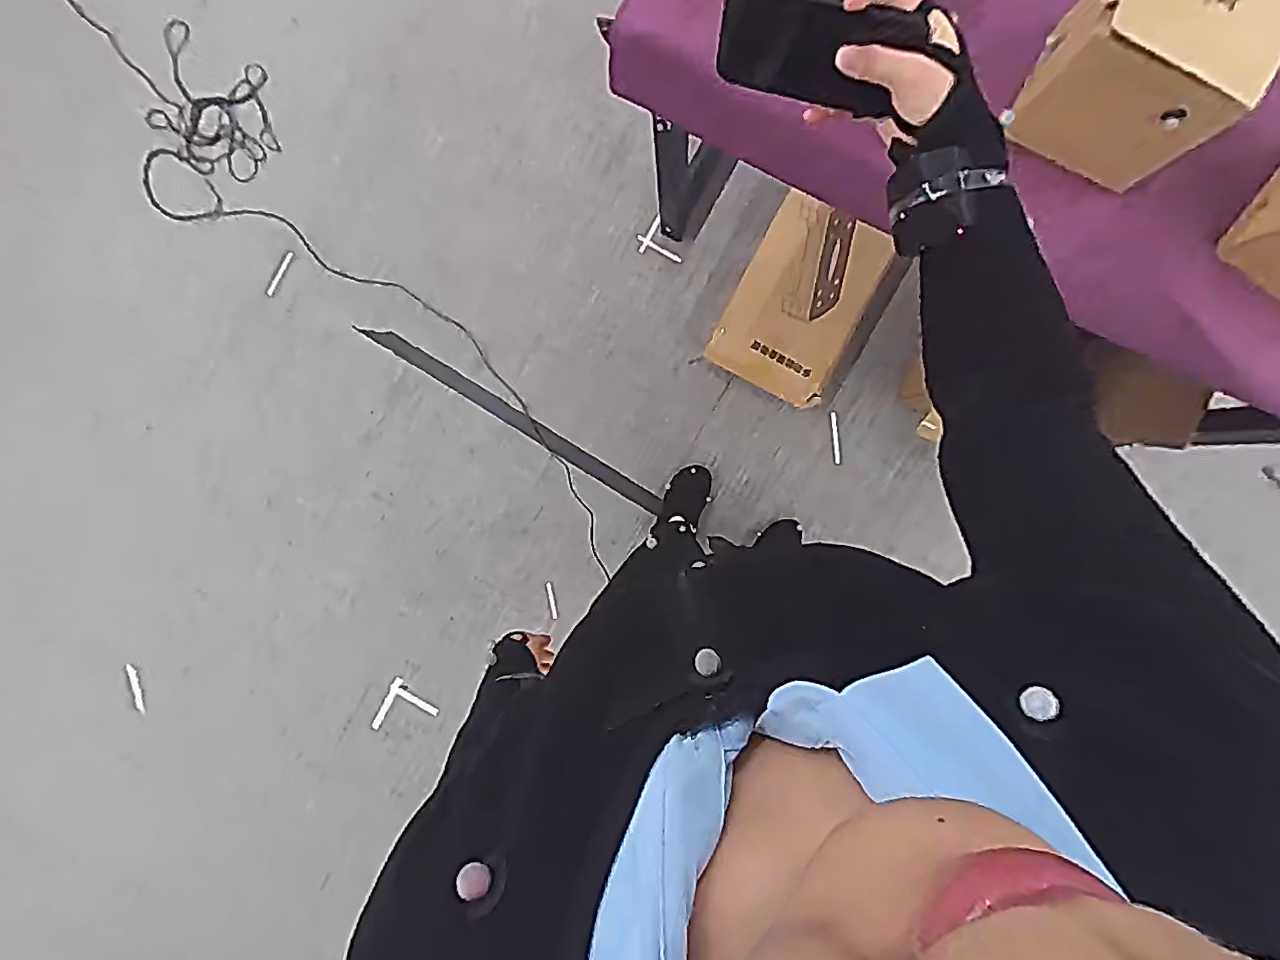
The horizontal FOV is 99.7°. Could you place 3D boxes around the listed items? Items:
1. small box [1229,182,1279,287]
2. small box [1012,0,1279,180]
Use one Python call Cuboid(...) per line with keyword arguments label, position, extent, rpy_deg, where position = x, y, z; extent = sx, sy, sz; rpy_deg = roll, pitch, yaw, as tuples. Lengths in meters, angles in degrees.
Cuboid(label="small box", position=(0.852, -0.307, 0.604), extent=(0.179, 0.176, 0.168), rpy_deg=(36, 94, 1))
Cuboid(label="small box", position=(0.585, -0.481, 0.614), extent=(0.179, 0.176, 0.168), rpy_deg=(29, 92, 2))
